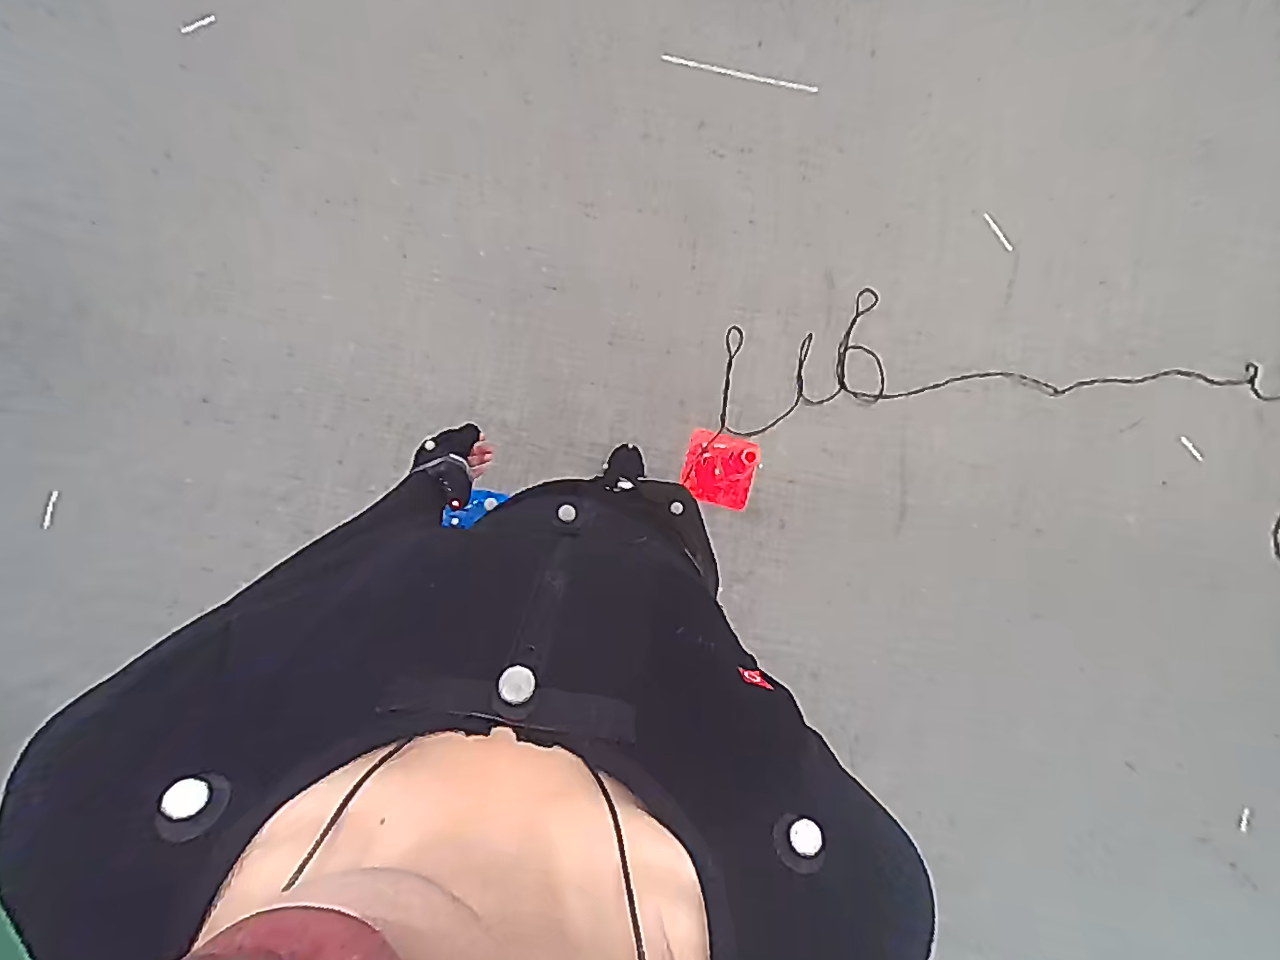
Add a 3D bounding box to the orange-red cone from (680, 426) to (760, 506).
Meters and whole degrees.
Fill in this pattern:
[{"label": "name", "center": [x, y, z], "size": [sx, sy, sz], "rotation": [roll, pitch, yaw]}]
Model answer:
[{"label": "orange-red cone", "center": [0.233, -0.048, 1.361], "size": [0.198, 0.360, 0.199], "rotation": [16, 87, -1]}]
